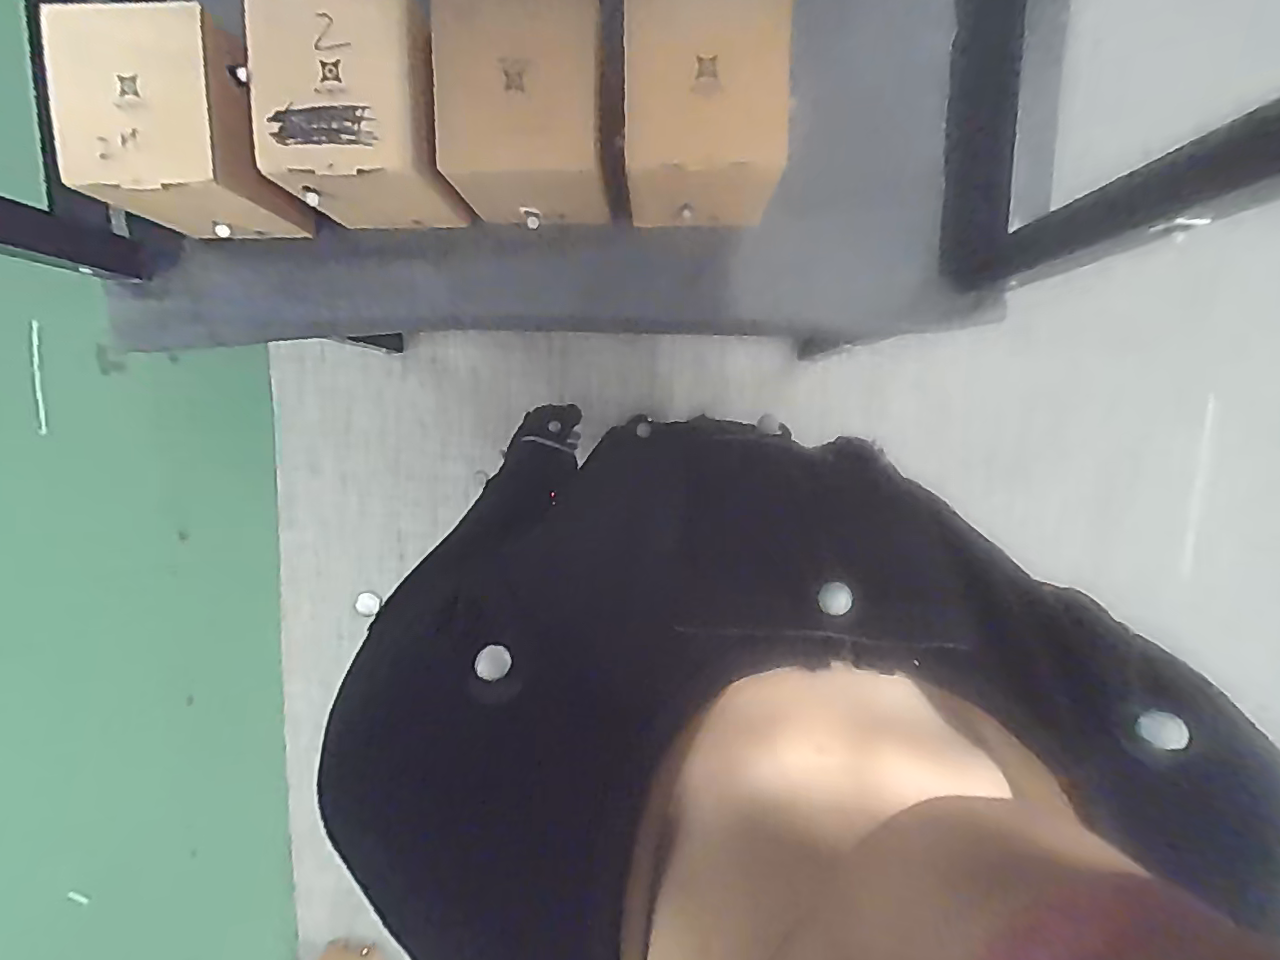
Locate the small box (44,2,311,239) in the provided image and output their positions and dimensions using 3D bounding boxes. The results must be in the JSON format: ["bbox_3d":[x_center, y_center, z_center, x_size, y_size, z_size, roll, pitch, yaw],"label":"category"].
[{"bbox_3d":[-0.515,-0.401,0.630,0.168,0.176,0.179,0,97,1],"label":"small box"}]

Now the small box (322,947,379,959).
[{"bbox_3d":[-0.896,1.545,1.607,0.168,0.176,0.179,4,97,1],"label":"small box"}]
